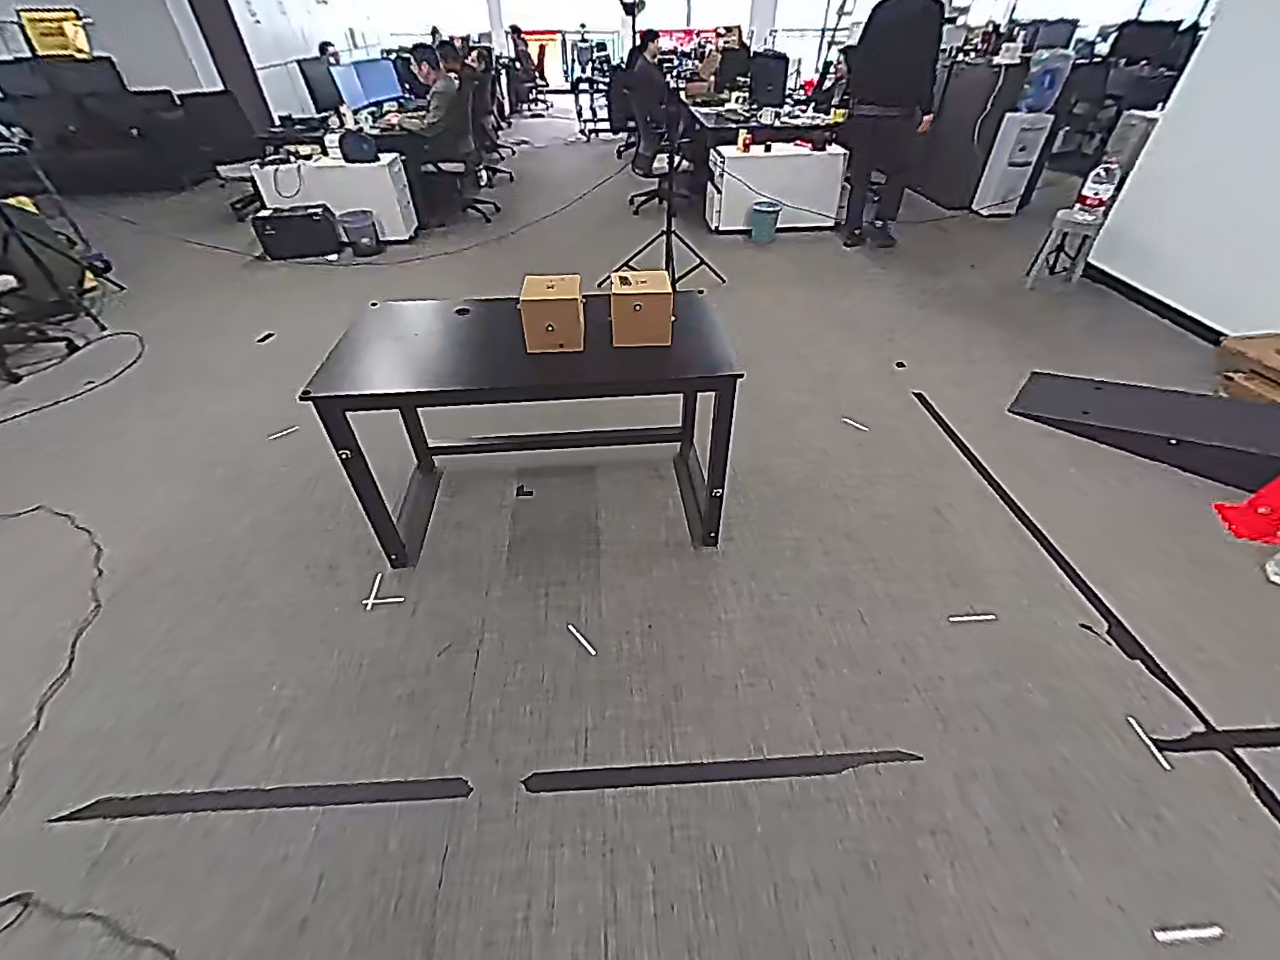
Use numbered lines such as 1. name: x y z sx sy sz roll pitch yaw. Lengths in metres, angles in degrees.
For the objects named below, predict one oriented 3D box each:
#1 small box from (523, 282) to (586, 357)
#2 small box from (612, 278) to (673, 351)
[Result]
1. small box: -0.253 -0.484 1.639 0.168 0.176 0.179 -2 41 -2
2. small box: 0.007 -0.505 1.658 0.179 0.176 0.168 -2 41 -2
